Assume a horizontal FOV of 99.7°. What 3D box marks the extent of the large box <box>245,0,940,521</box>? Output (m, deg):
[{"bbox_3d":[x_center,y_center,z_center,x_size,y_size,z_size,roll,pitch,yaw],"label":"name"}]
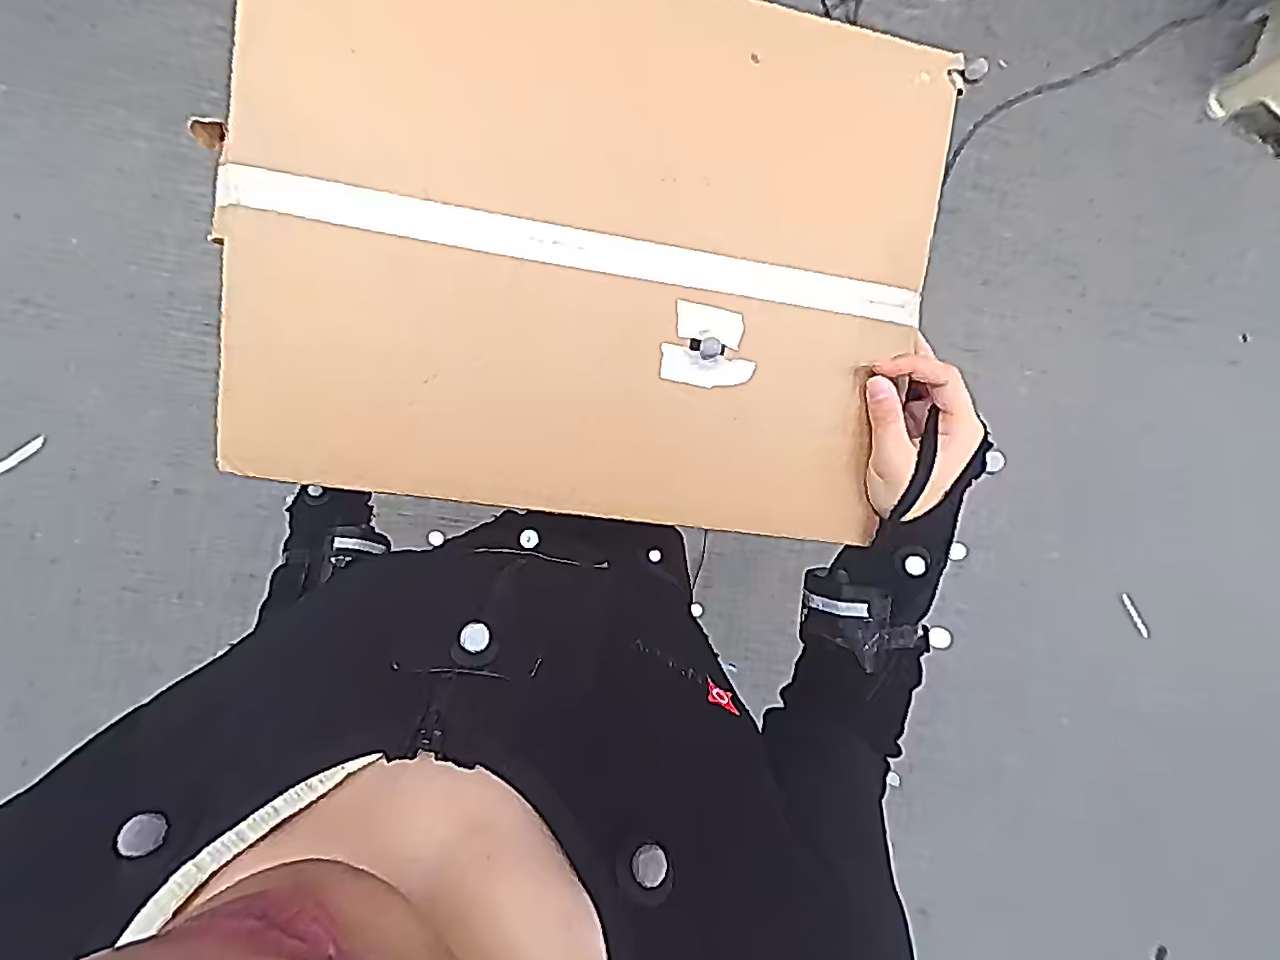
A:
[{"bbox_3d":[-0.042,-0.157,0.474,0.408,0.320,0.320,6,97,-10],"label":"large box"}]
